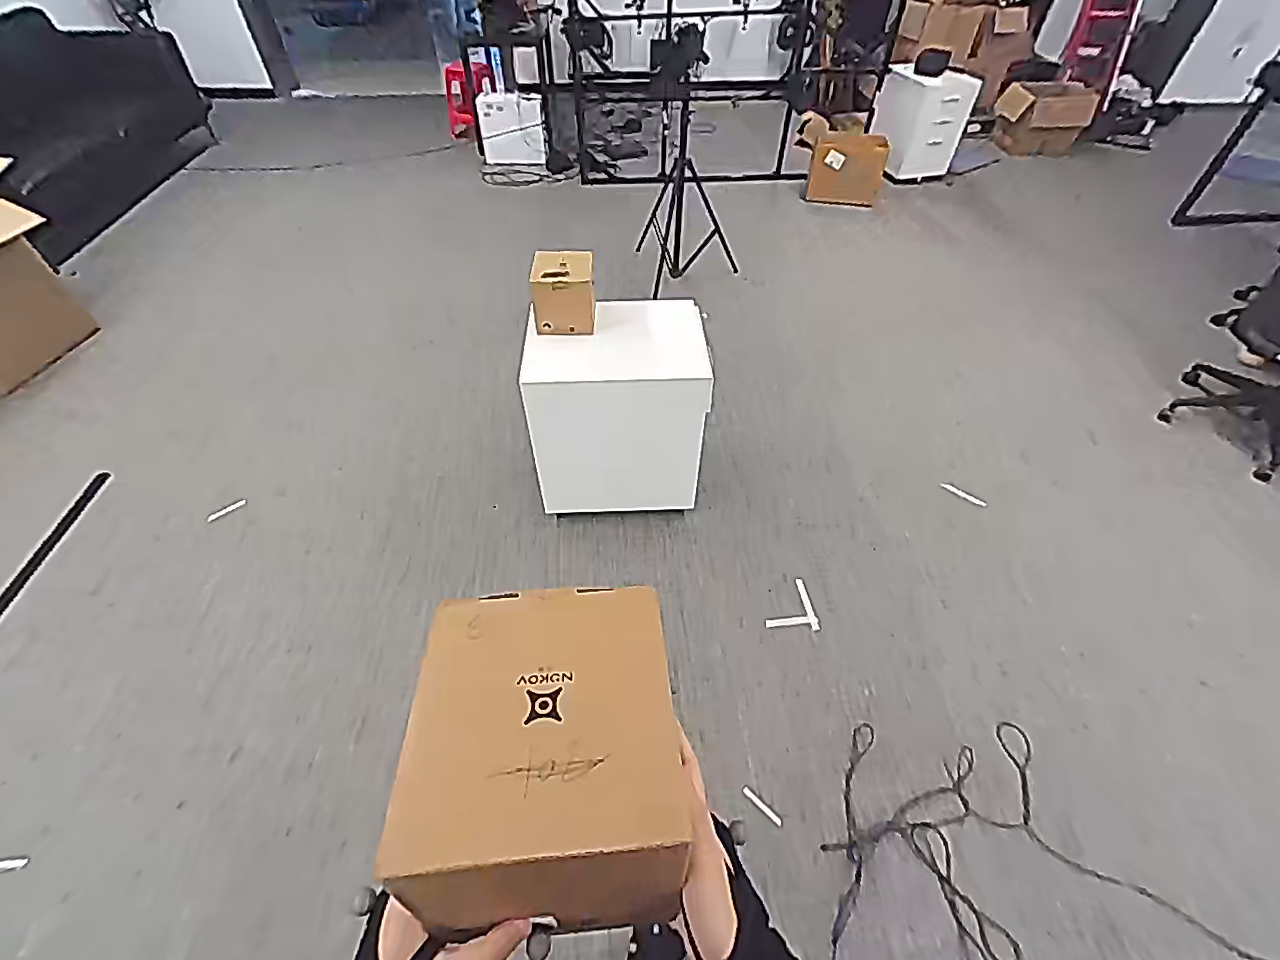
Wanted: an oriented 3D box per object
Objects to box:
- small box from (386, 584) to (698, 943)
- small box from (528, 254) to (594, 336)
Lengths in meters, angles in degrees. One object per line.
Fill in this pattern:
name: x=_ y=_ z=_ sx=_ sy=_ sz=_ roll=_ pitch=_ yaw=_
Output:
small box: x=-0.058 y=0.200 z=0.395 sx=0.168 sy=0.176 sz=0.179 roll=-3 pitch=40 yaw=-4
small box: x=-0.221 y=-0.530 z=1.556 sx=0.168 sy=0.176 sz=0.179 roll=-1 pitch=48 yaw=-2
